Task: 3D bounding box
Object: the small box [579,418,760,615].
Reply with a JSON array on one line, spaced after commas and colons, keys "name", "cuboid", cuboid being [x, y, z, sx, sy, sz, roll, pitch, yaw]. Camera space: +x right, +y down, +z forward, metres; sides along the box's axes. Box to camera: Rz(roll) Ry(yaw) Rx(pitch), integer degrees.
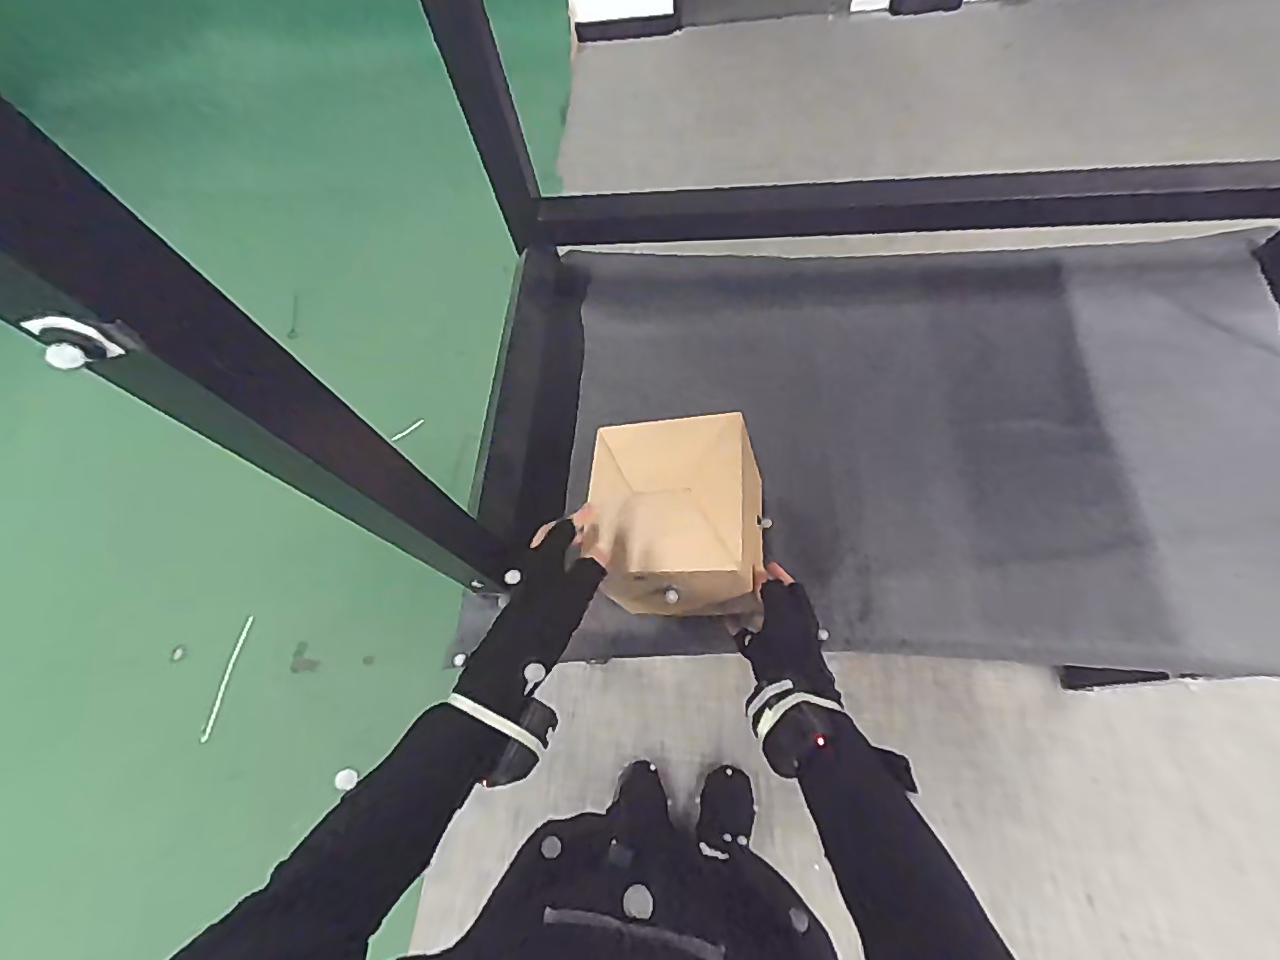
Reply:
[{"name": "small box", "cuboid": [0.043, 0.048, 0.621, 0.168, 0.176, 0.179, -5, 61, 19]}]
